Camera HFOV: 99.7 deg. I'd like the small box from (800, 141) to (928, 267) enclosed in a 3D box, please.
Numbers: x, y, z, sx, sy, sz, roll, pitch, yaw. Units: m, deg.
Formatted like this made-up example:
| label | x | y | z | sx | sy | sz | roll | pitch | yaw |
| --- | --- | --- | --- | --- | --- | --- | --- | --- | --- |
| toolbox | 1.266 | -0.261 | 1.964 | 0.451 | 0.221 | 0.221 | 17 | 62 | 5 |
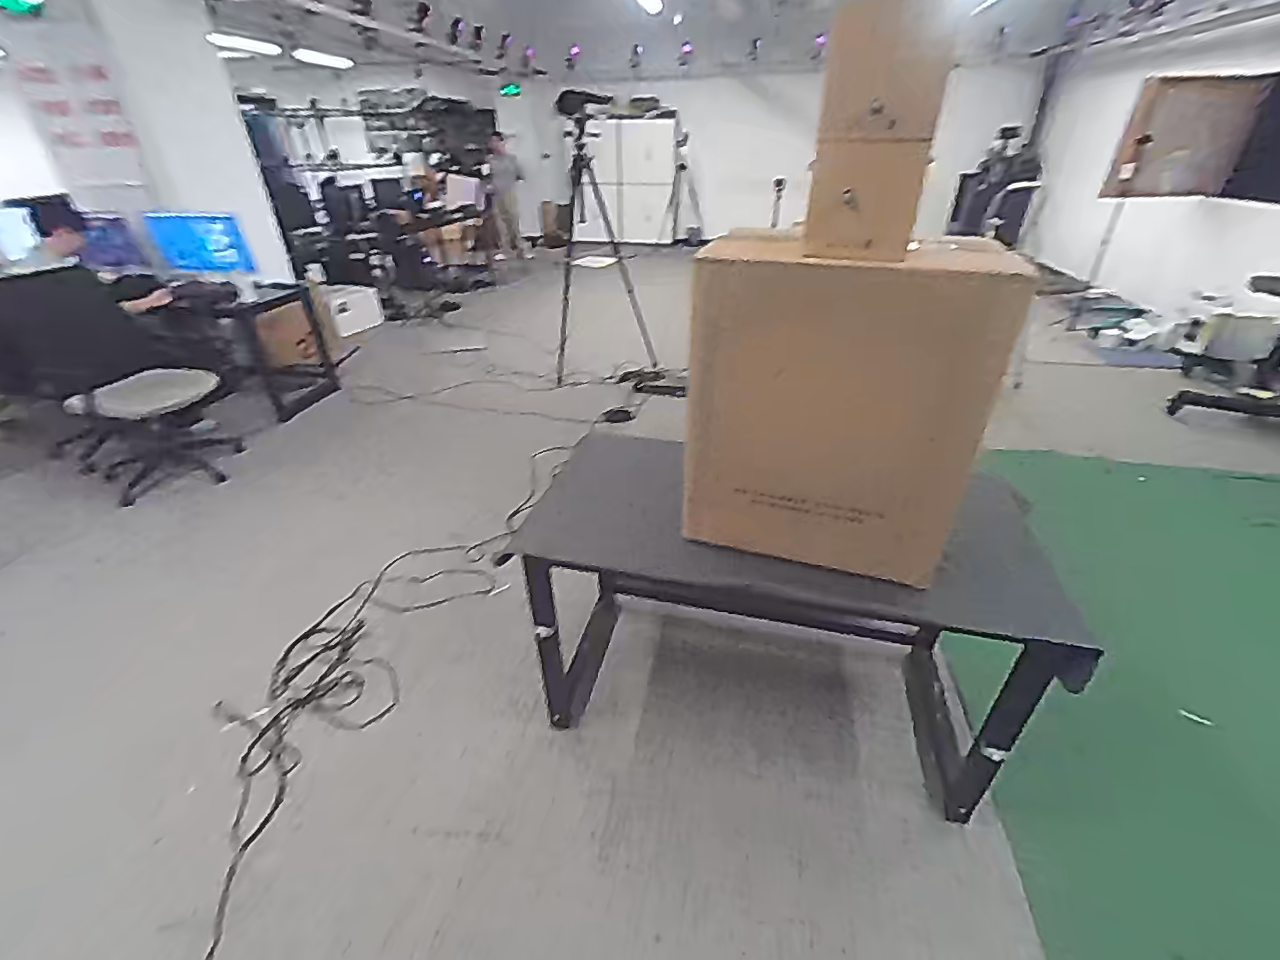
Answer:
| label | x | y | z | sx | sy | sz | roll | pitch | yaw |
| --- | --- | --- | --- | --- | --- | --- | --- | --- | --- |
| small box | 0.369 | -0.462 | 0.904 | 0.168 | 0.176 | 0.179 | 11 | 35 | 18 |
